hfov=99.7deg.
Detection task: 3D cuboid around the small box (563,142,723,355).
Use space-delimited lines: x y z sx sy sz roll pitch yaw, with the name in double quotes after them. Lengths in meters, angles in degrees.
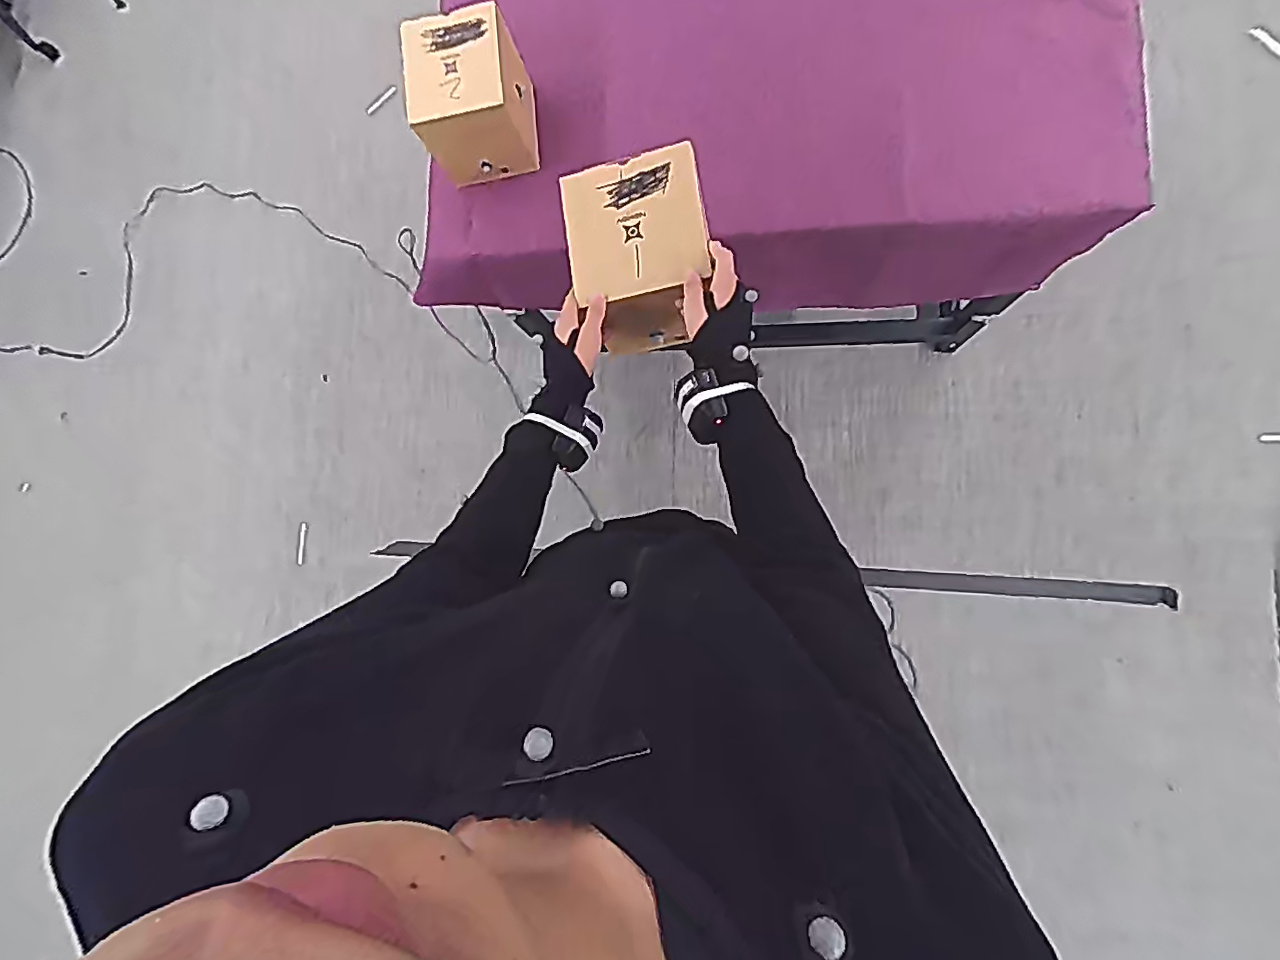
0.012 -0.286 0.705 0.168 0.176 0.179 -9 81 13 "small box"
